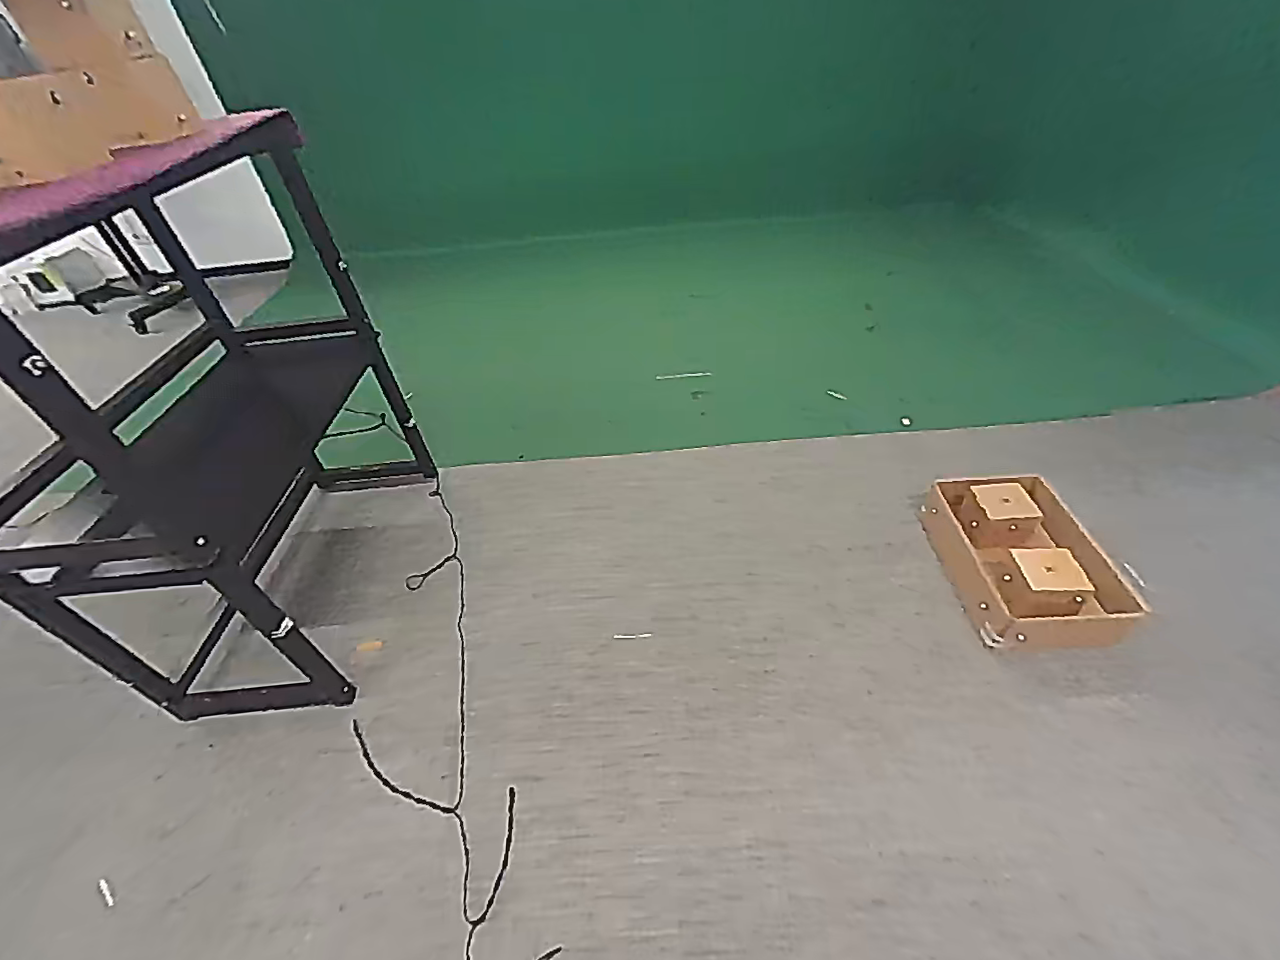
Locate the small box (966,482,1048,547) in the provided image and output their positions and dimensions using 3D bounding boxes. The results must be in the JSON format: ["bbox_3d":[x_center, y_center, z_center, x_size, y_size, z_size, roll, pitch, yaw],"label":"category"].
[{"bbox_3d":[1.297,0.127,1.934,0.179,0.176,0.168,-4,44,4],"label":"small box"}]

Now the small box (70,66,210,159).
[{"bbox_3d":[-1.269,-0.946,1.394,0.168,0.176,0.179,-7,42,3],"label":"small box"}]

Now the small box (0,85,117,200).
[{"bbox_3d":[-1.256,-0.696,1.117,0.168,0.176,0.179,-6,42,3],"label":"small box"}]

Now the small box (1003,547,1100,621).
[{"bbox_3d":[1.288,0.331,1.713,0.179,0.176,0.168,-2,42,7],"label":"small box"}]
